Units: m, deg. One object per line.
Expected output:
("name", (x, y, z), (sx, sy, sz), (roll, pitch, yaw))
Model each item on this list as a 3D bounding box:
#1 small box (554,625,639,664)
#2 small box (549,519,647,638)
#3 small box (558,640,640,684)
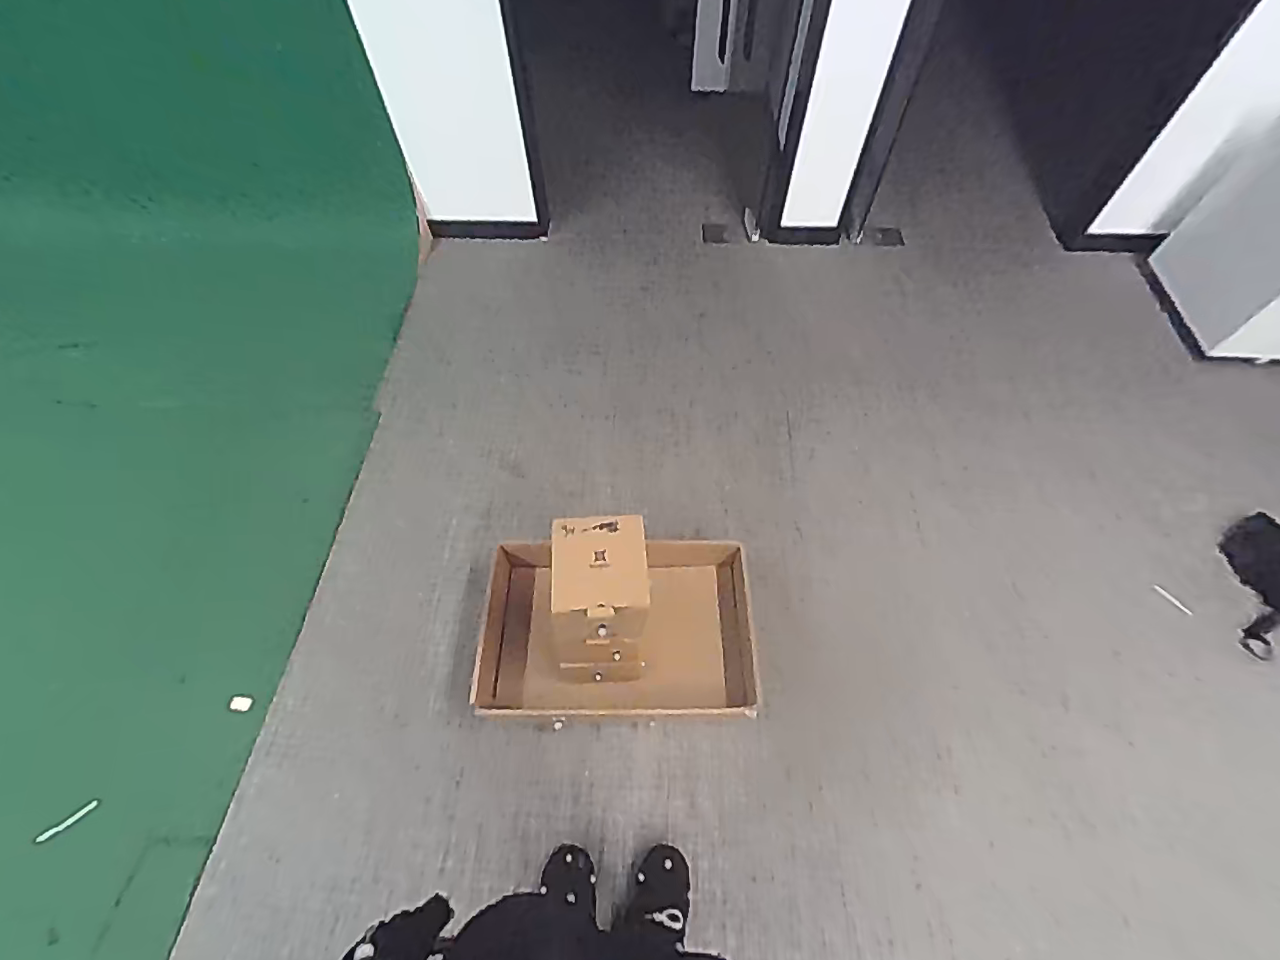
("small box", (-0.084, 0.280, 1.135), (0.168, 0.176, 0.179), (1, 56, -2))
("small box", (-0.072, 0.188, 1.000), (0.168, 0.176, 0.179), (-1, 58, -3))
("small box", (-0.089, 0.374, 1.265), (0.179, 0.176, 0.168), (-1, 57, 0))
